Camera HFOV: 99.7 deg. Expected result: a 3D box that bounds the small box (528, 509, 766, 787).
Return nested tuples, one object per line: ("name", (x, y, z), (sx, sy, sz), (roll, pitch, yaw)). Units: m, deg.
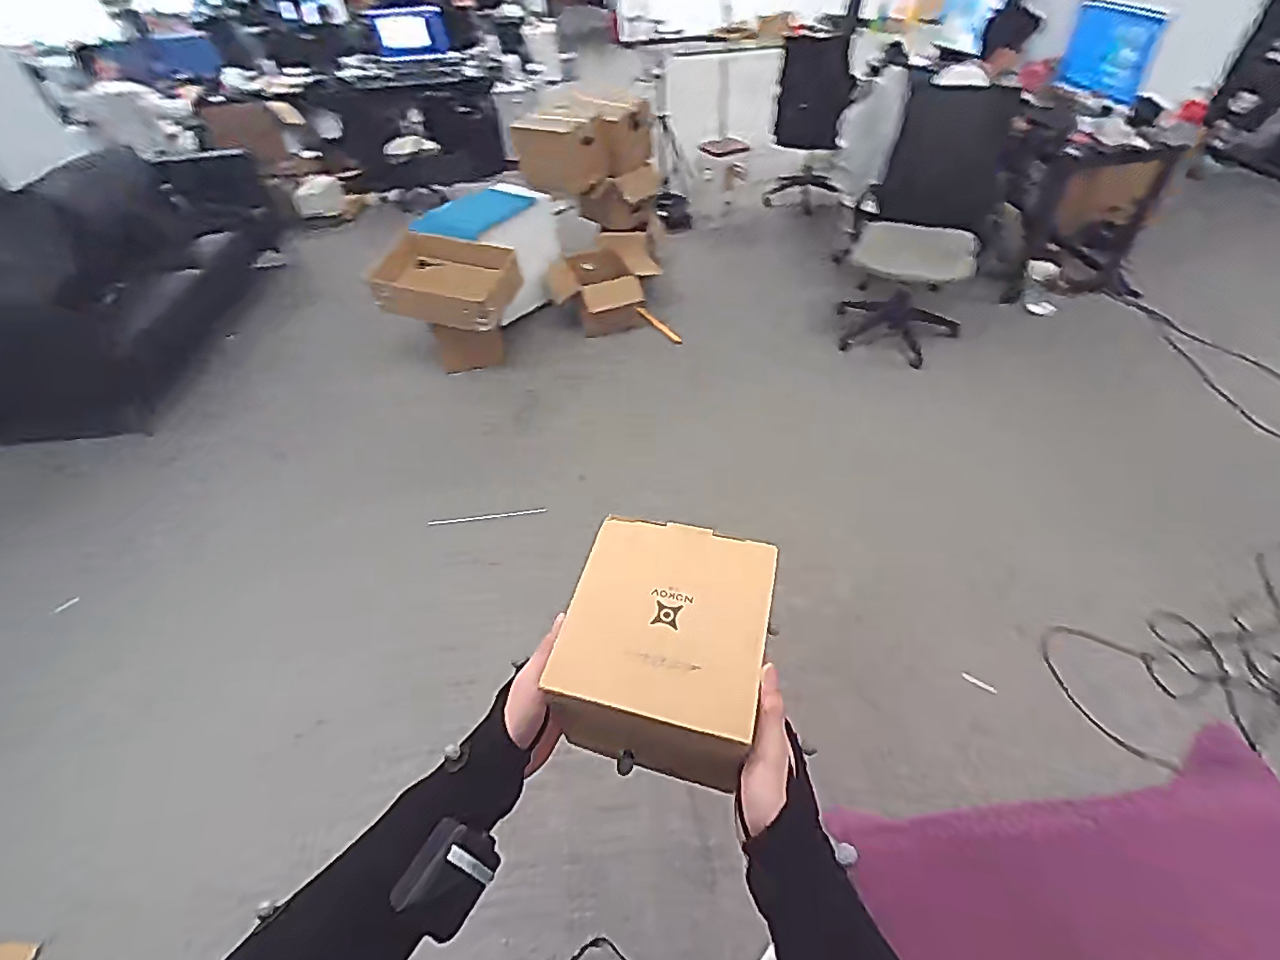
("small box", (0.017, 0.157, 0.508), (0.168, 0.176, 0.179), (9, 51, 13))
